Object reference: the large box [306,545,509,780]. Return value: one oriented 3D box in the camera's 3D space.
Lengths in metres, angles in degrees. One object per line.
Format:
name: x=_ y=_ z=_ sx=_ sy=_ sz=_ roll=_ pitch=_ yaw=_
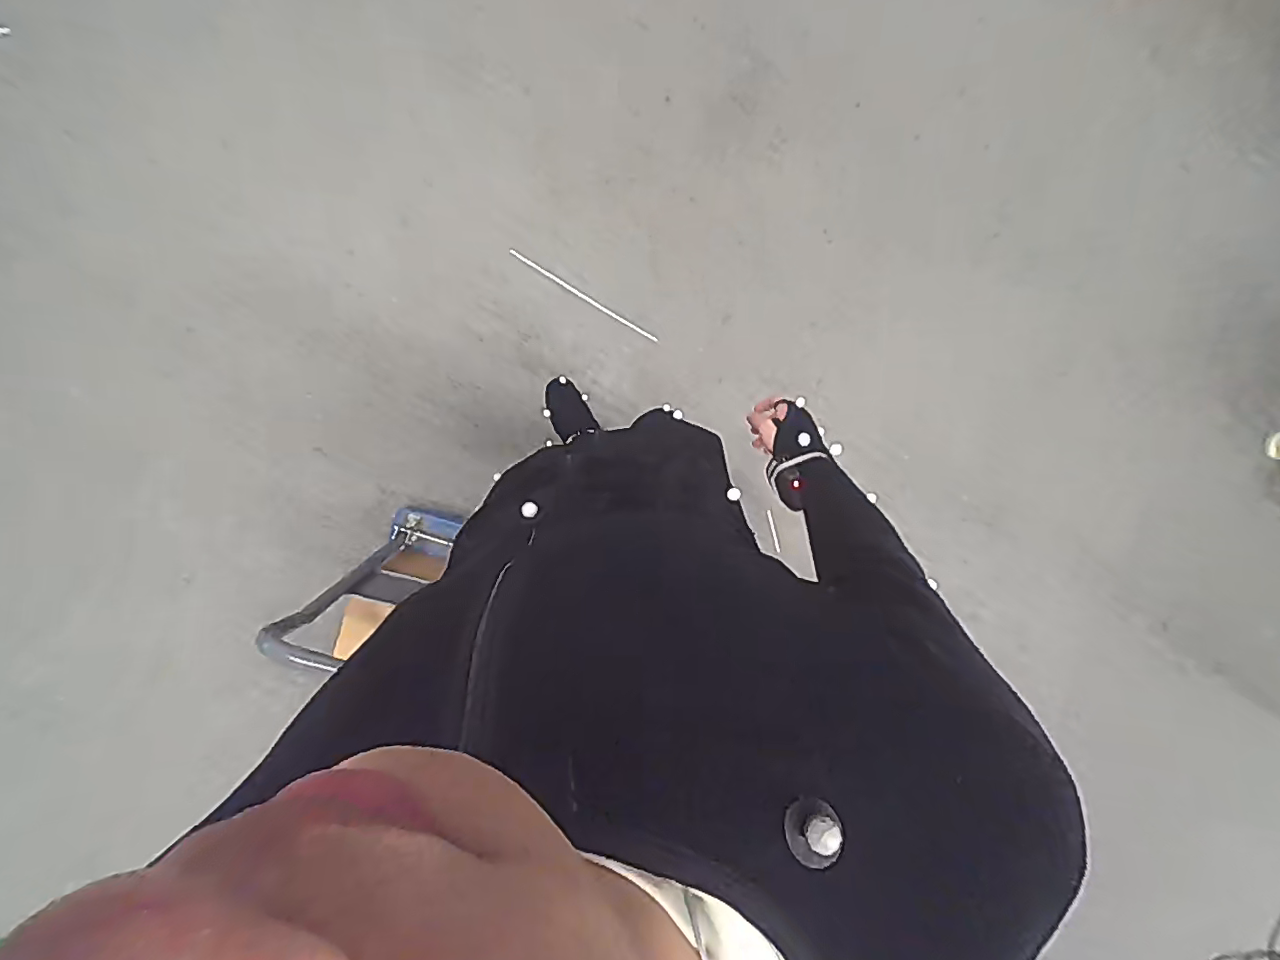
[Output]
large box: x=-0.530 y=0.415 z=1.301 sx=0.320 sy=0.320 sz=0.408 roll=18 pitch=96 yaw=-8
